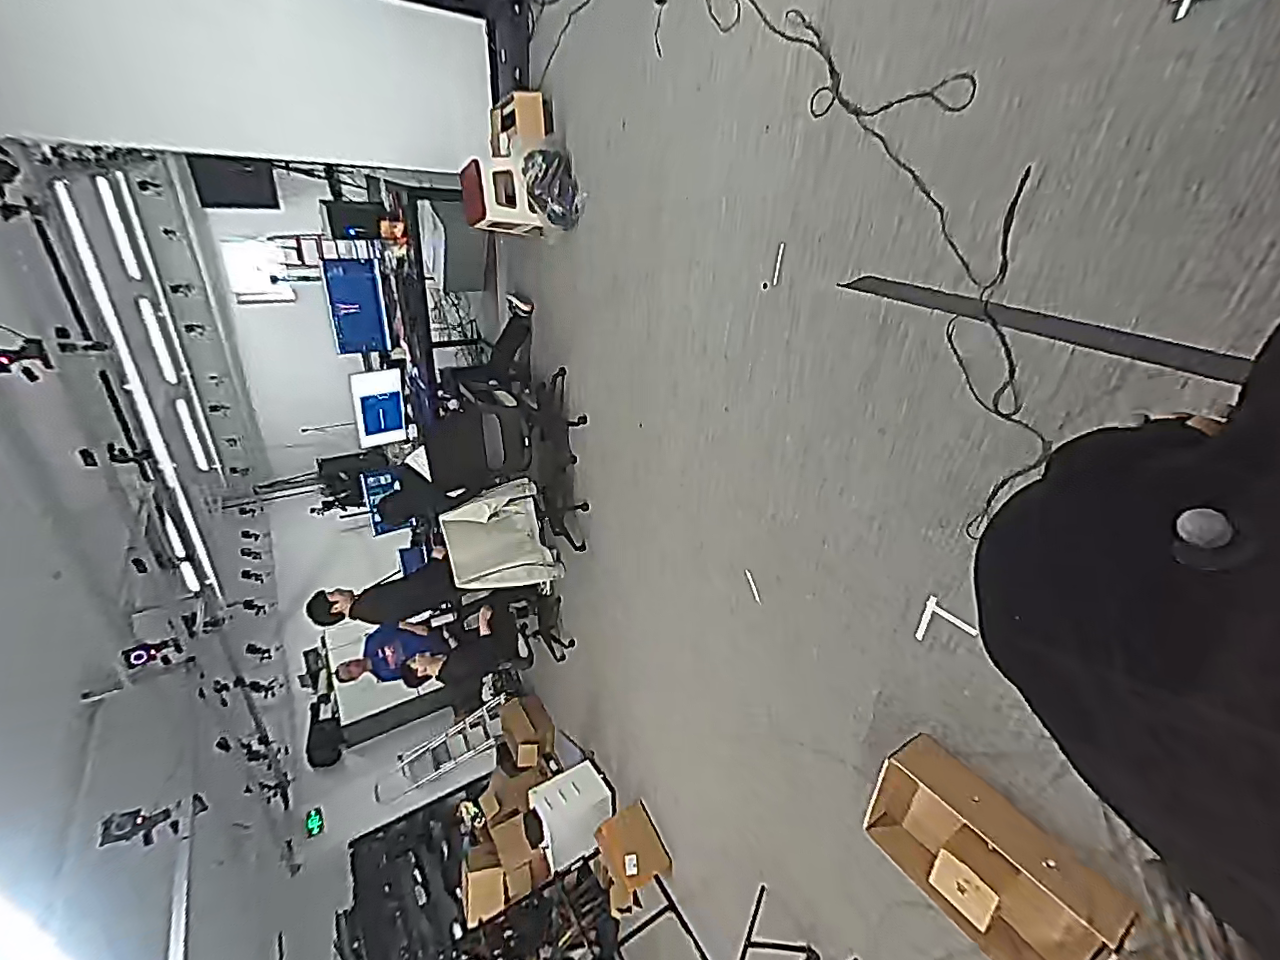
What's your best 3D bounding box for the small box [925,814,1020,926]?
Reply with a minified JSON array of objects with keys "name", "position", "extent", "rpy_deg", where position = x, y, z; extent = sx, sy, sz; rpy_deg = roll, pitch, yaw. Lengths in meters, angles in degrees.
[{"name":"small box","position":[0.988,1.153,1.607],"extent":[0.168,0.176,0.179],"rpy_deg":[32,128,48]}]
